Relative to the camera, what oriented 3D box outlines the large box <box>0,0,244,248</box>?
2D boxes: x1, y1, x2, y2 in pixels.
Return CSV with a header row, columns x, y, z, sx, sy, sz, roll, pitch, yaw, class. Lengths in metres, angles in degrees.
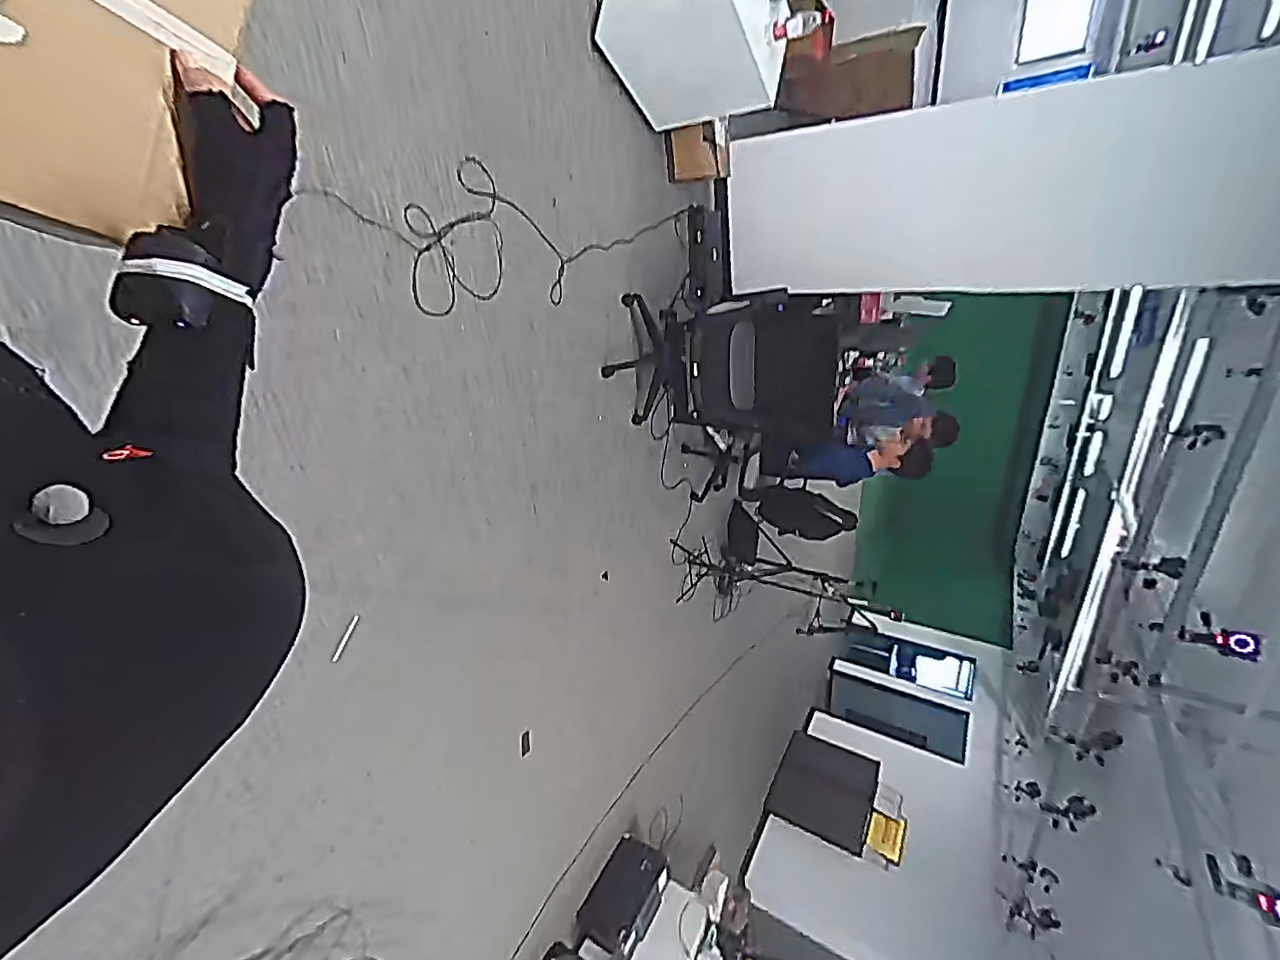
x,y,z,sx,sy,sz,roll,pitch,yaw,class
-0.559,-0.395,0.345,0.408,0.320,0.320,11,99,-59,large box
